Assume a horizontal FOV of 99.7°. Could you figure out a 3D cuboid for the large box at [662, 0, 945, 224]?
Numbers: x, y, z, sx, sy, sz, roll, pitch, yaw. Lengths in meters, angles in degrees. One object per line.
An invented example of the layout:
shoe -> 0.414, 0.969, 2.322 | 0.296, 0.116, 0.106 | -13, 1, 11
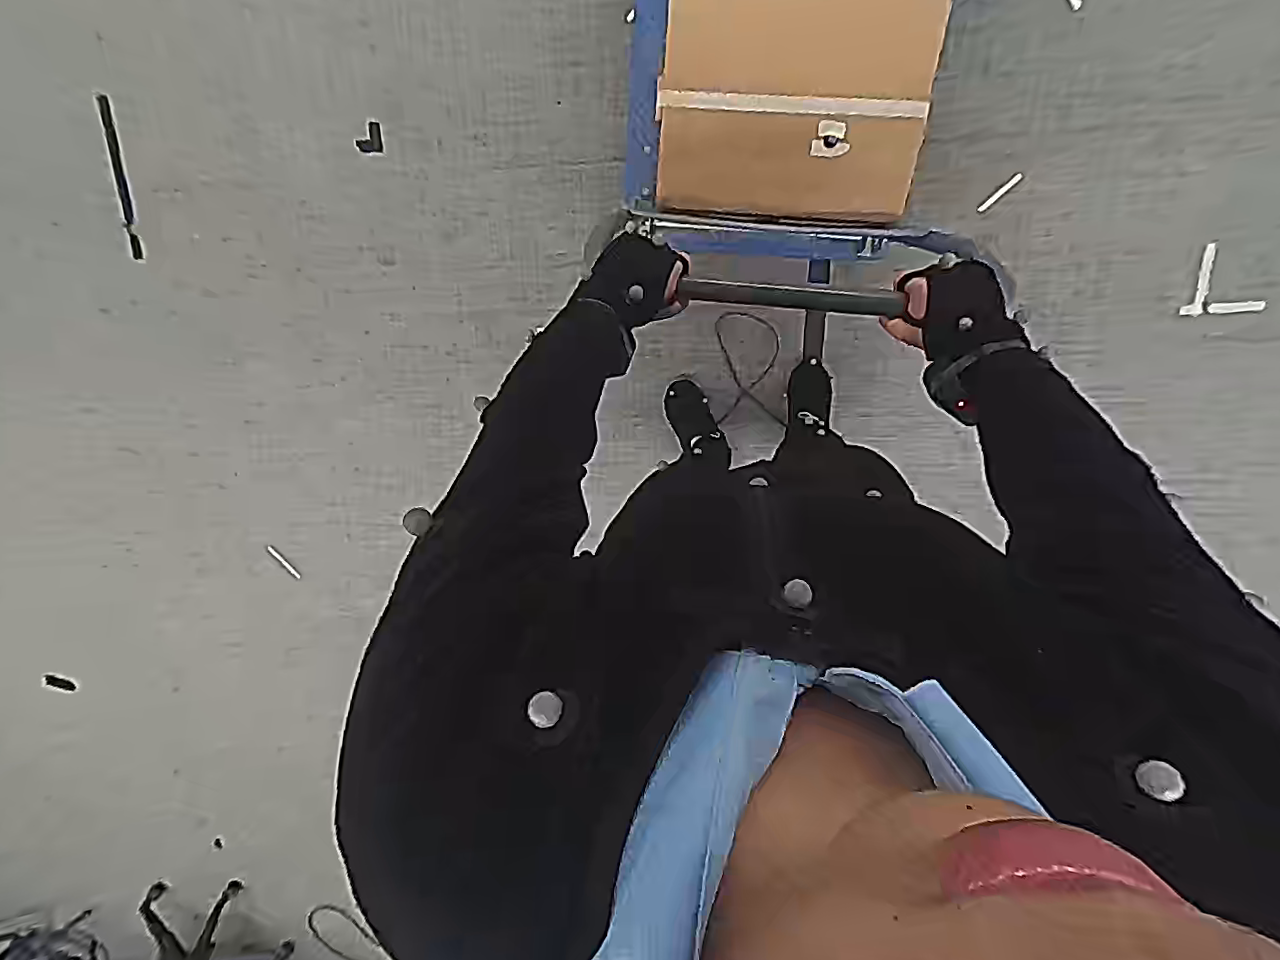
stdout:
large box -> 0.251, -0.645, 0.985 | 0.408, 0.320, 0.320 | 5, 116, 4
